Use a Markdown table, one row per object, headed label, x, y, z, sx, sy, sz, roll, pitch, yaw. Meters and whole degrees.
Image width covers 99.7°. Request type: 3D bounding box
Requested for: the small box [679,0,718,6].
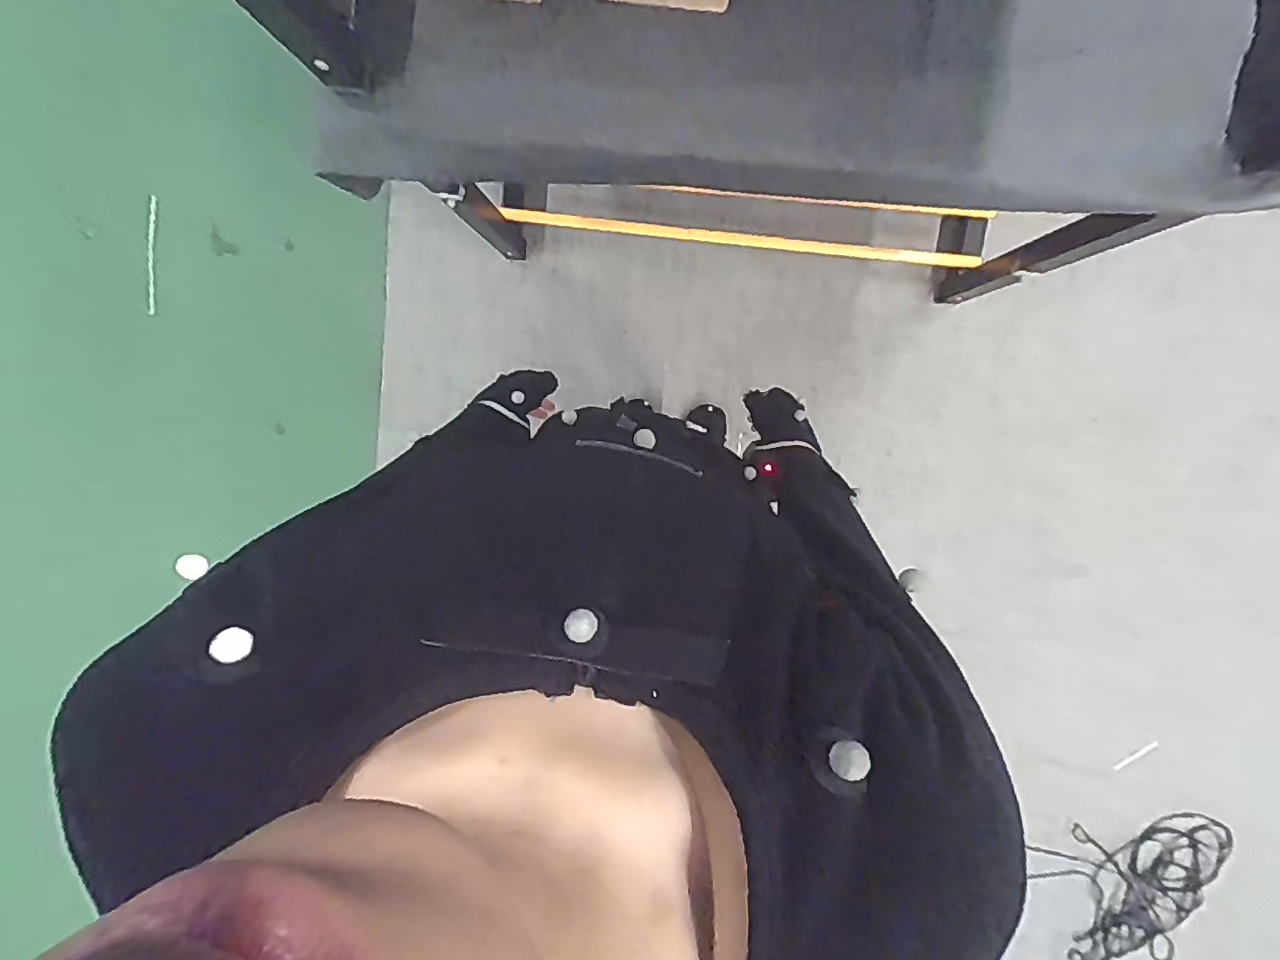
| label | x | y | z | sx | sy | sz | roll | pitch | yaw |
| --- | --- | --- | --- | --- | --- | --- | --- | --- | --- |
| small box | 0.028 | -0.664 | 0.579 | 0.168 | 0.176 | 0.179 | 8 | 98 | 1 |
